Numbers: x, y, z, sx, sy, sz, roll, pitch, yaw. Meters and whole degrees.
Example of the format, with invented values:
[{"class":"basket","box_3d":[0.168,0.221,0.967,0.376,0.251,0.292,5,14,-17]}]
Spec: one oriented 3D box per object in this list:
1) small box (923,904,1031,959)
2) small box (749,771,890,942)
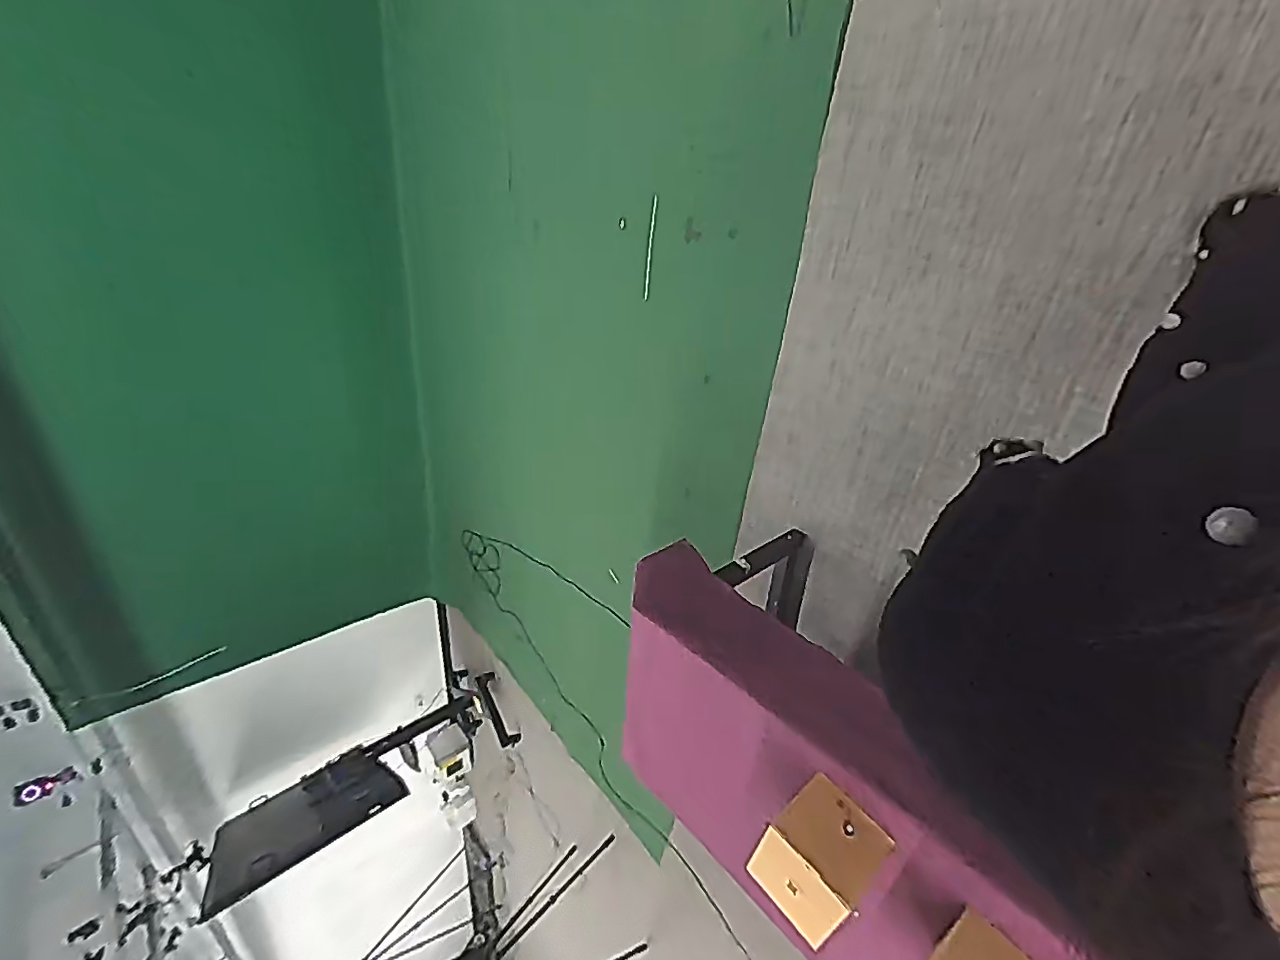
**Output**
[{"class":"small box","box_3d":[0.534,0.822,0.833,0.179,0.176,0.168,32,127,38]},{"class":"small box","box_3d":[0.340,0.703,1.024,0.168,0.176,0.179,37,130,36]}]
